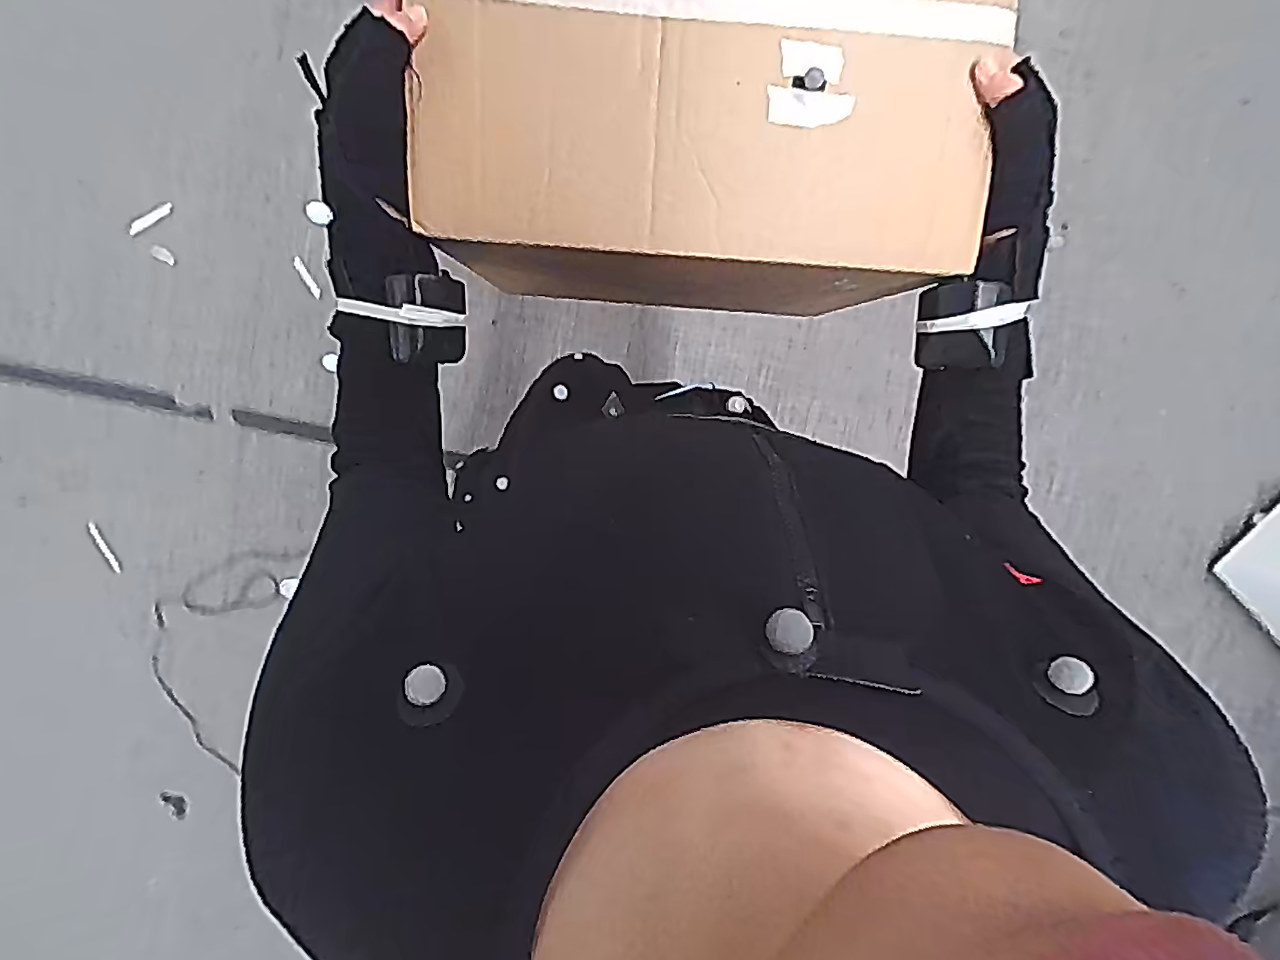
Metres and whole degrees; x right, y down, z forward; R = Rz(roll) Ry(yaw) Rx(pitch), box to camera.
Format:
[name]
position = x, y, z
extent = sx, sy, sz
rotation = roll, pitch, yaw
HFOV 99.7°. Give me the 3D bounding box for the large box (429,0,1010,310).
[large box]
position = 0.048, -0.349, 0.515
extent = 0.408, 0.320, 0.320
rotation = 4, 102, -4
